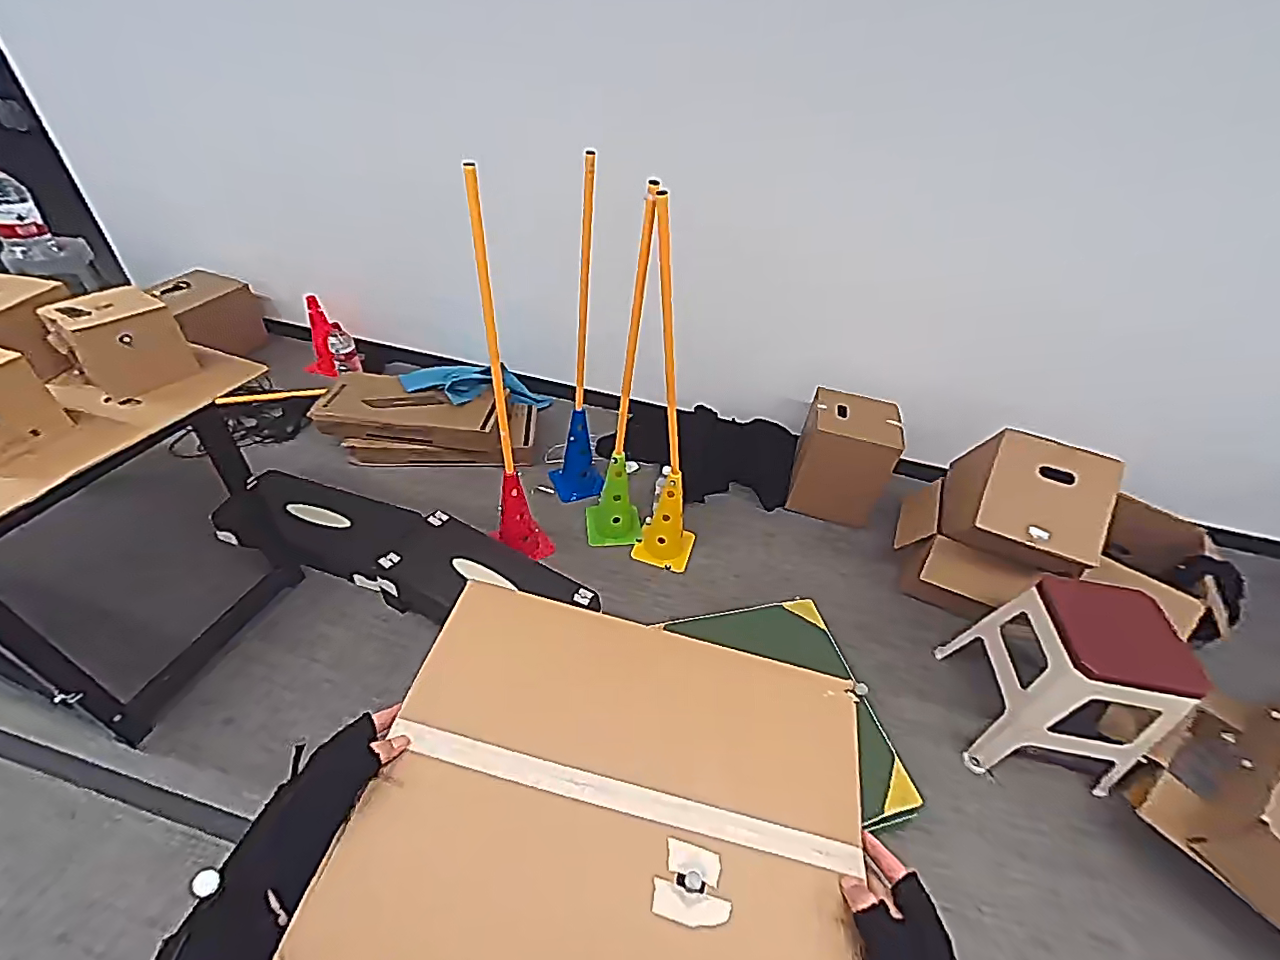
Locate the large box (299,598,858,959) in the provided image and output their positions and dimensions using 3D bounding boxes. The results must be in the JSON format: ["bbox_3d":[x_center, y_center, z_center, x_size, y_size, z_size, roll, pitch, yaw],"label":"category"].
[{"bbox_3d":[-0.036,0.375,0.565,0.408,0.320,0.320,15,48,3],"label":"large box"}]
